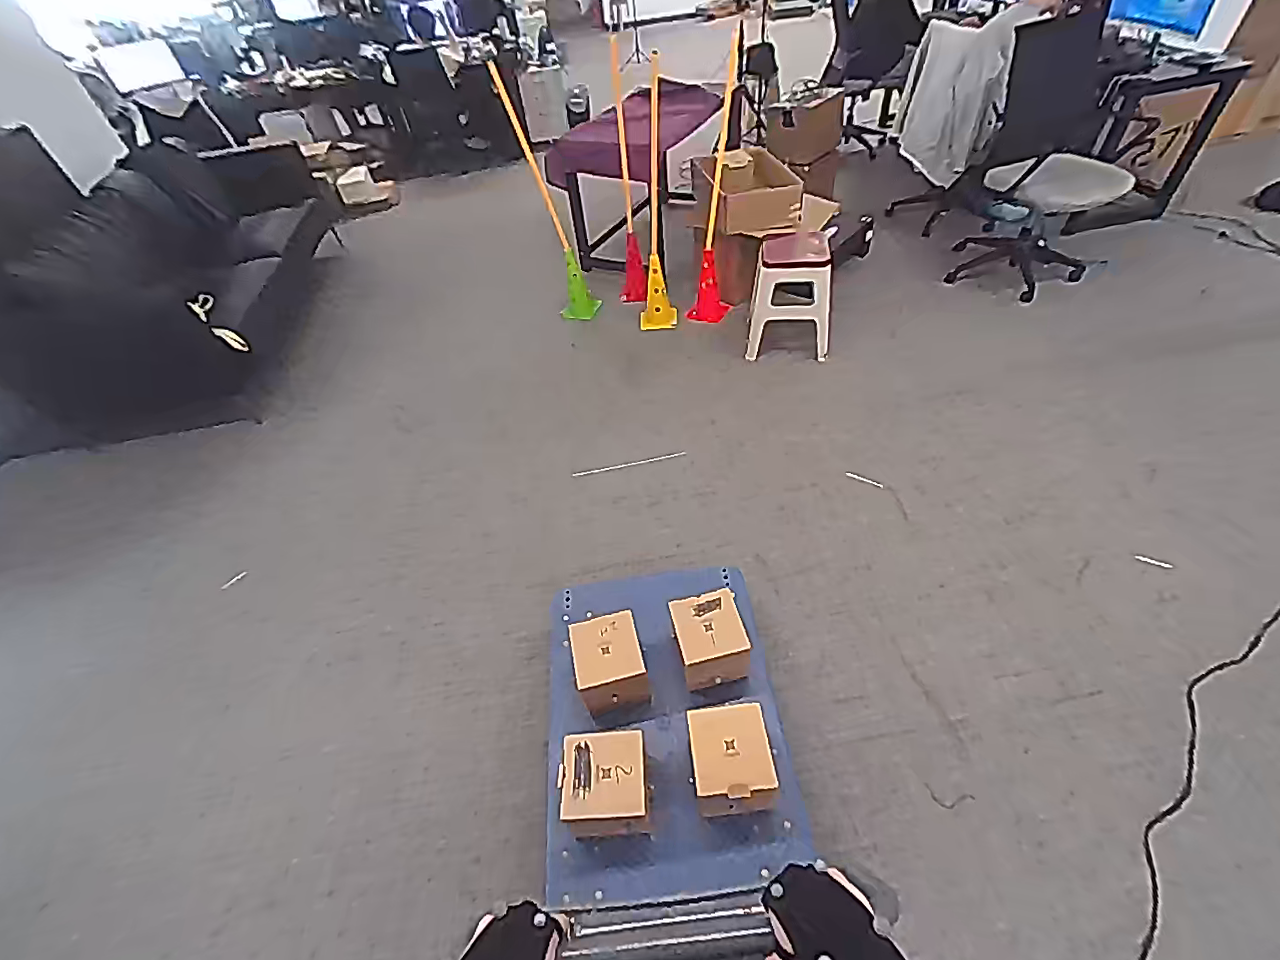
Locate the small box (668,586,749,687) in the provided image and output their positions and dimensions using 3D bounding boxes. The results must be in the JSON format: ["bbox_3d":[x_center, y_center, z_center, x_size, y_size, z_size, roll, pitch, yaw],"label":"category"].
[{"bbox_3d":[0.174,0.407,1.402,0.168,0.176,0.179,-13,48,-4],"label":"small box"}]

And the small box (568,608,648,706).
[{"bbox_3d":[-0.080,0.460,1.386,0.168,0.176,0.179,-13,47,-5],"label":"small box"}]

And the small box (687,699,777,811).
[{"bbox_3d":[0.196,0.616,1.209,0.168,0.176,0.179,-7,48,1],"label":"small box"}]
